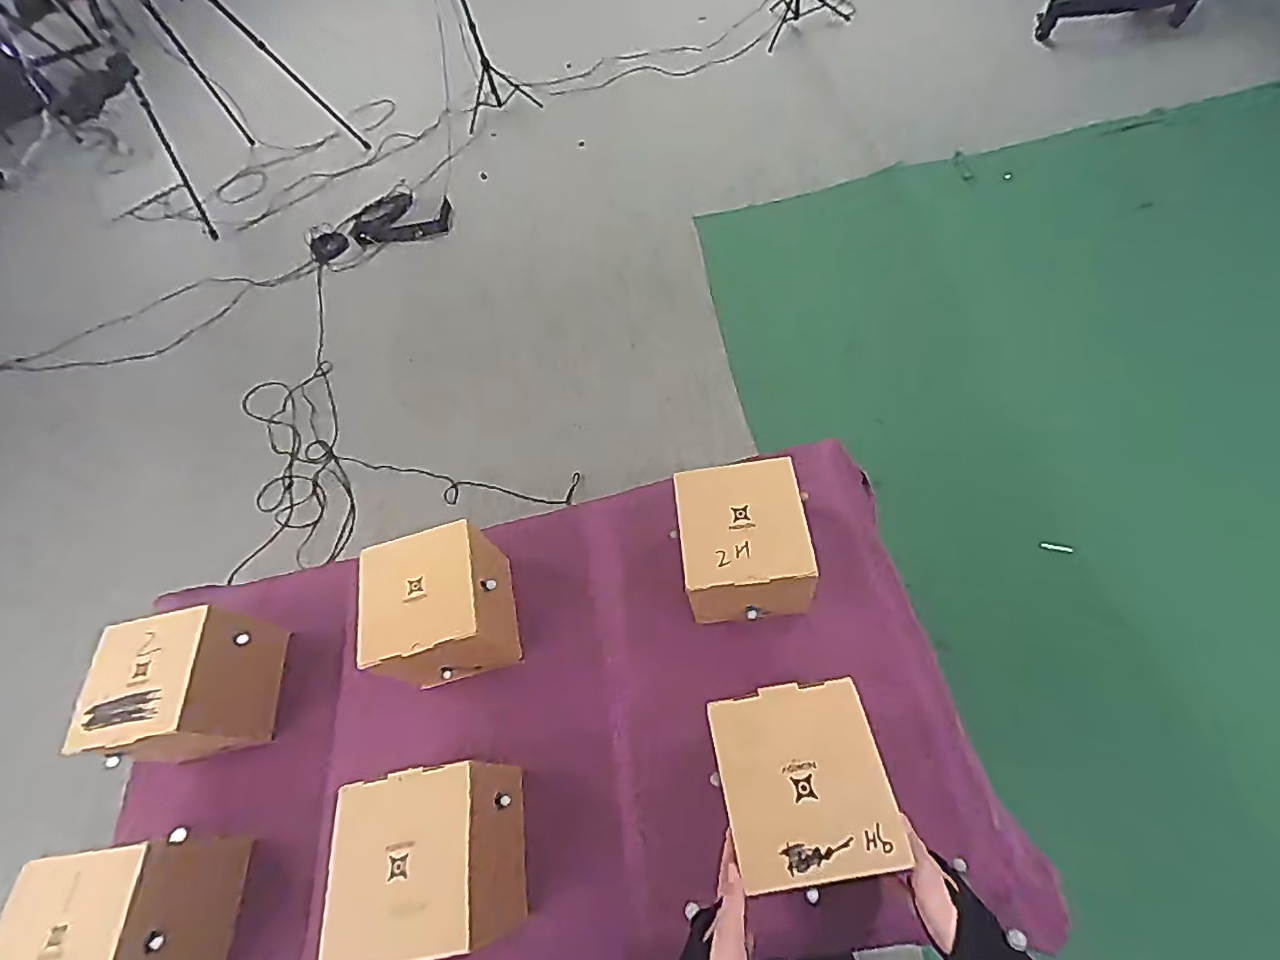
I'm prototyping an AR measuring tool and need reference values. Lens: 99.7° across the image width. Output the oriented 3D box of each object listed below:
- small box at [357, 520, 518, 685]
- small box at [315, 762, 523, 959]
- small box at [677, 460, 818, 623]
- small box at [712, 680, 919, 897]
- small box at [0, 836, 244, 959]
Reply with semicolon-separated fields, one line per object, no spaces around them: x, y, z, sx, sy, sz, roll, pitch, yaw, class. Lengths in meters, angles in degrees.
-0.295;0.189;0.809;0.168;0.176;0.179;-16;60;0;small box
-0.247;0.453;0.649;0.168;0.176;0.179;-12;59;4;small box
0.146;0.094;0.780;0.168;0.176;0.179;-8;61;7;small box
0.179;0.348;0.614;0.168;0.176;0.179;-12;57;3;small box
-0.634;0.551;0.660;0.168;0.176;0.179;-10;58;4;small box
